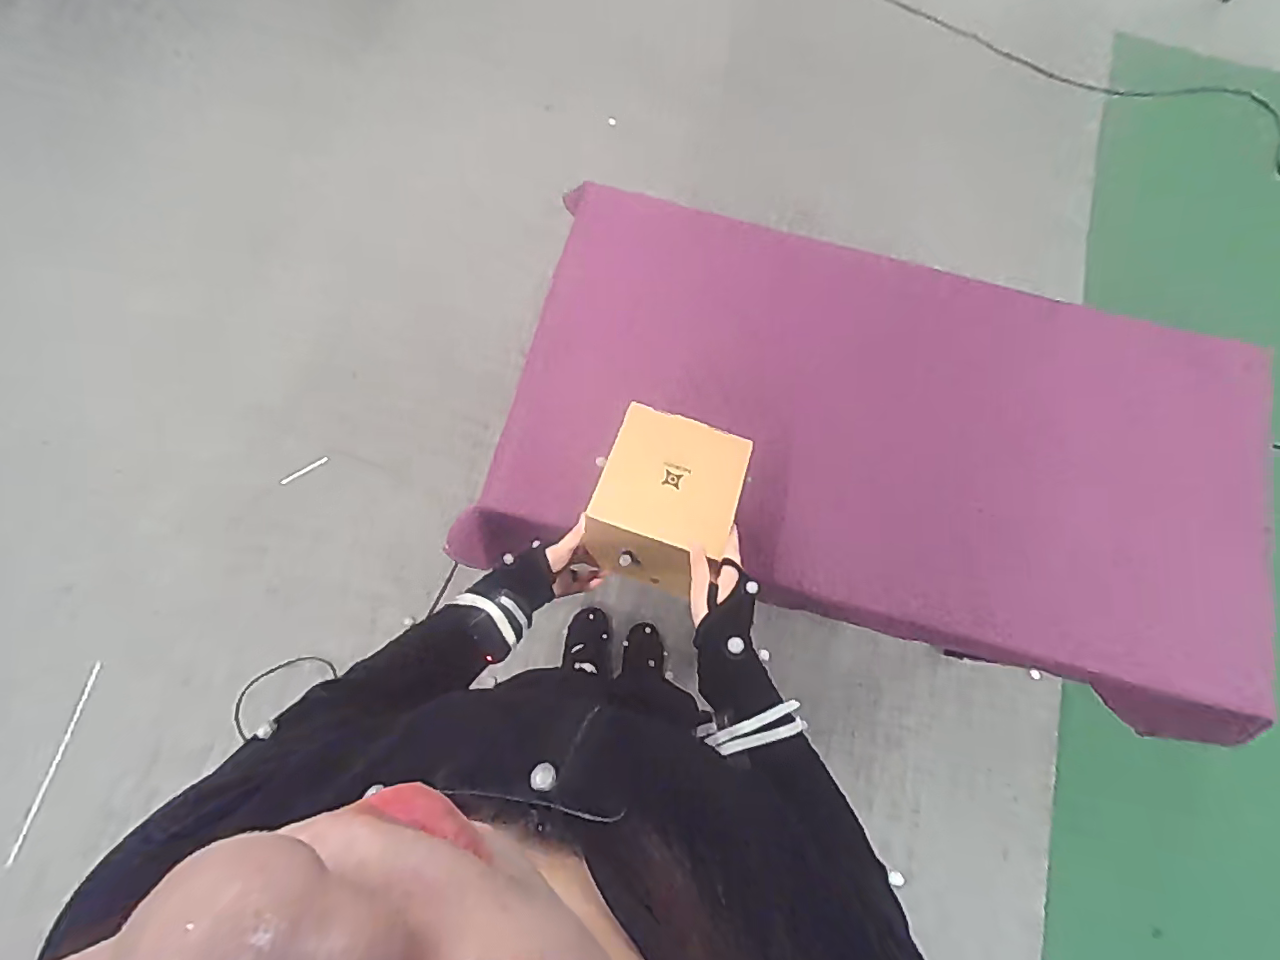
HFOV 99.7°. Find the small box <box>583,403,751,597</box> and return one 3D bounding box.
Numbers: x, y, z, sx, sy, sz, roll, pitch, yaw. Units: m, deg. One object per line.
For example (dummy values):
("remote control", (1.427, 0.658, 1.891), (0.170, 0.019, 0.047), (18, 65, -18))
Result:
("small box", (0.031, 0.035, 0.717), (0.168, 0.176, 0.179), (19, 61, 3))
